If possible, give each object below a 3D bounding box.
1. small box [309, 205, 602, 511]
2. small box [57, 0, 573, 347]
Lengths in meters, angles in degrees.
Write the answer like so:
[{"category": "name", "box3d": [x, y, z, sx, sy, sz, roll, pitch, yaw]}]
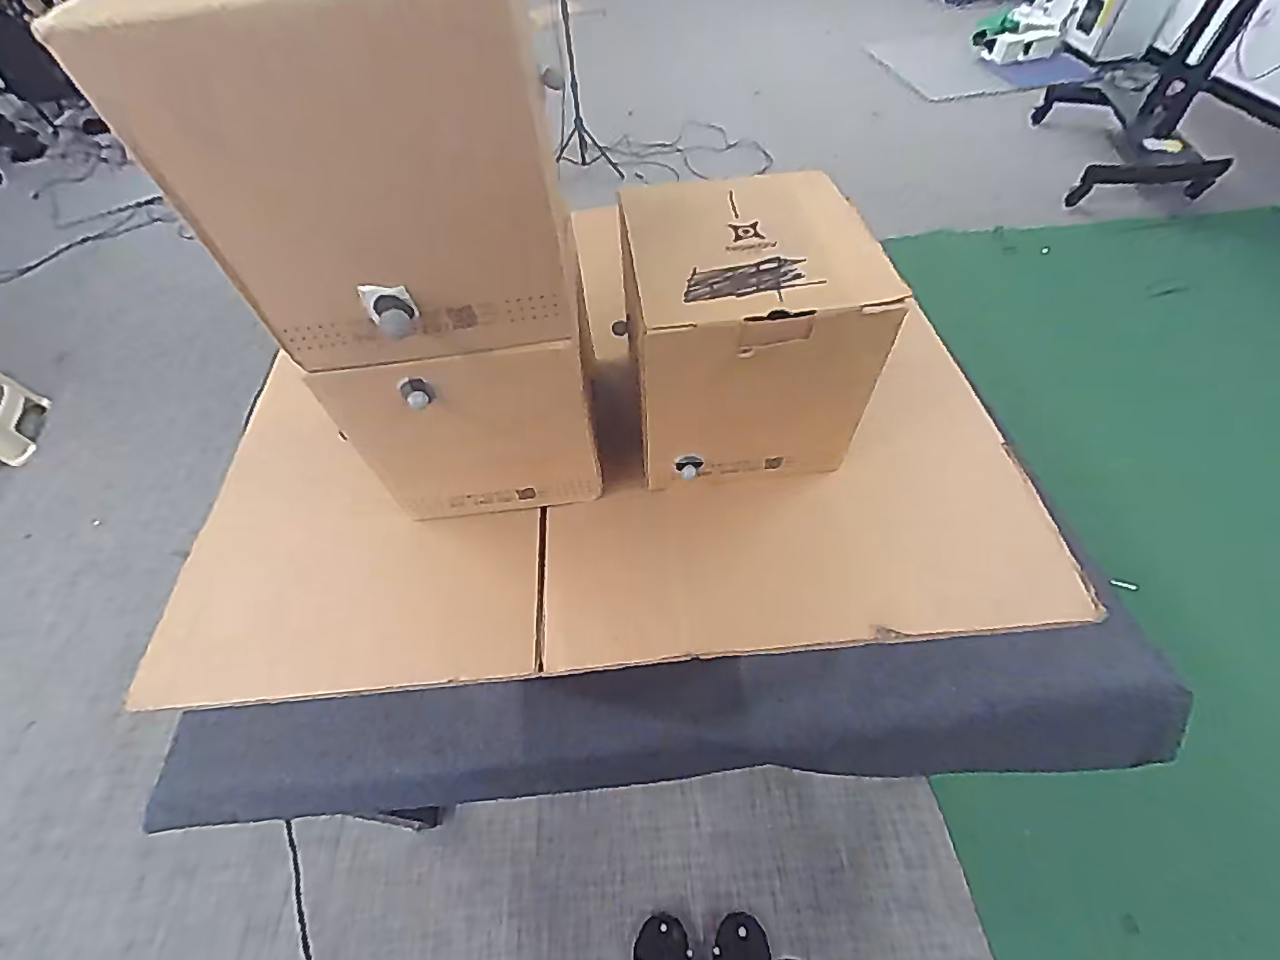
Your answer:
[{"category": "small box", "box3d": [-0.125, -0.097, 0.447, 0.168, 0.176, 0.179, -7, 53, 1]}, {"category": "small box", "box3d": [-0.136, -0.202, 0.303, 0.168, 0.176, 0.179, -10, 56, -2]}]
